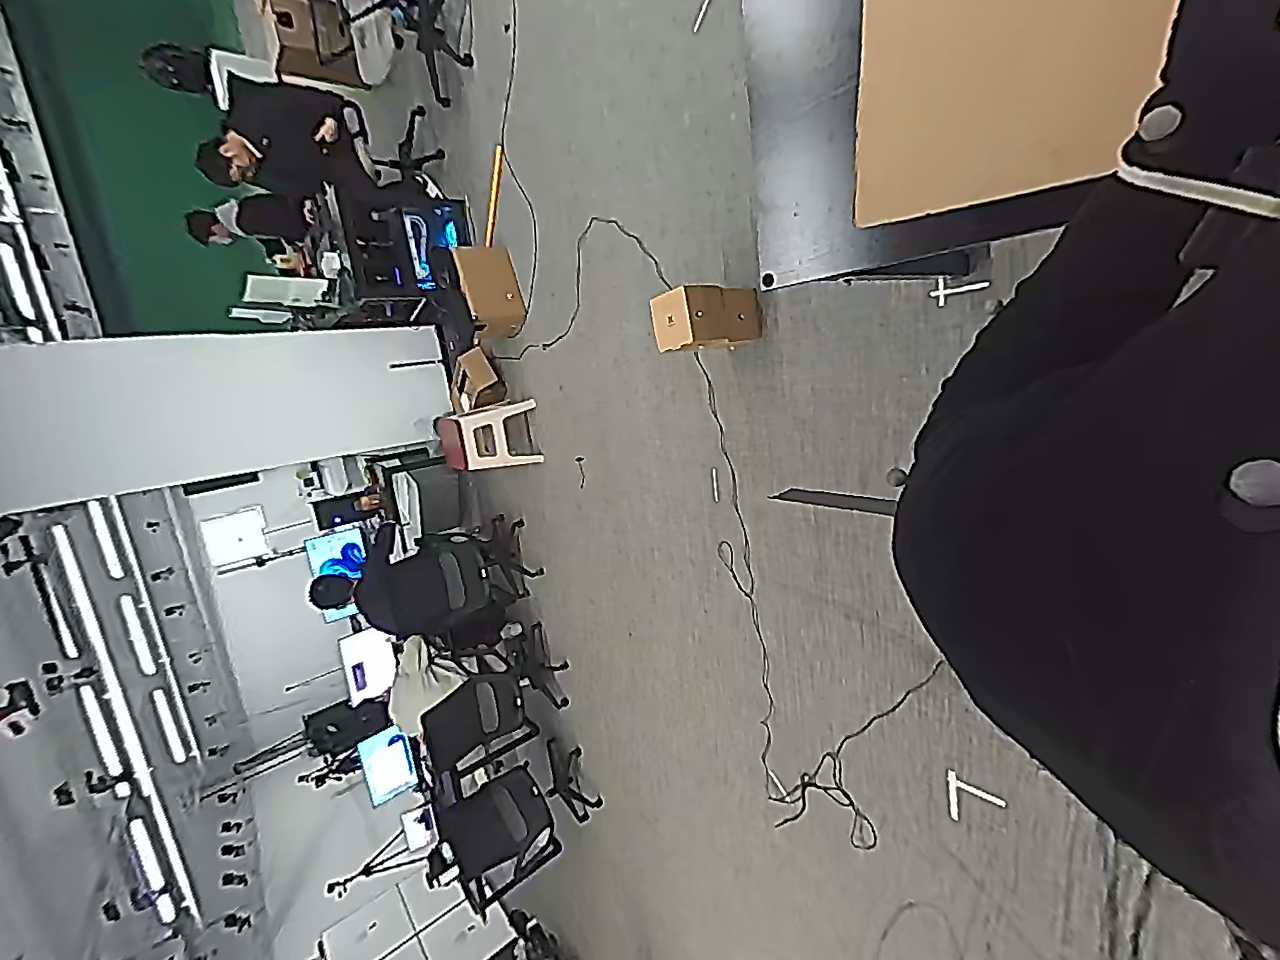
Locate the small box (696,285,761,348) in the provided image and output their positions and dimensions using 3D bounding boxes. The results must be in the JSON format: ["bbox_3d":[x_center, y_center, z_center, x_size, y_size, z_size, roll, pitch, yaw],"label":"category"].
[{"bbox_3d":[0.293,-0.558,1.848,0.168,0.176,0.179,2,105,52],"label":"small box"}]

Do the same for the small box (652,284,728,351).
[{"bbox_3d":[0.166,-0.528,1.750,0.168,0.176,0.179,-2,100,52],"label":"small box"}]
